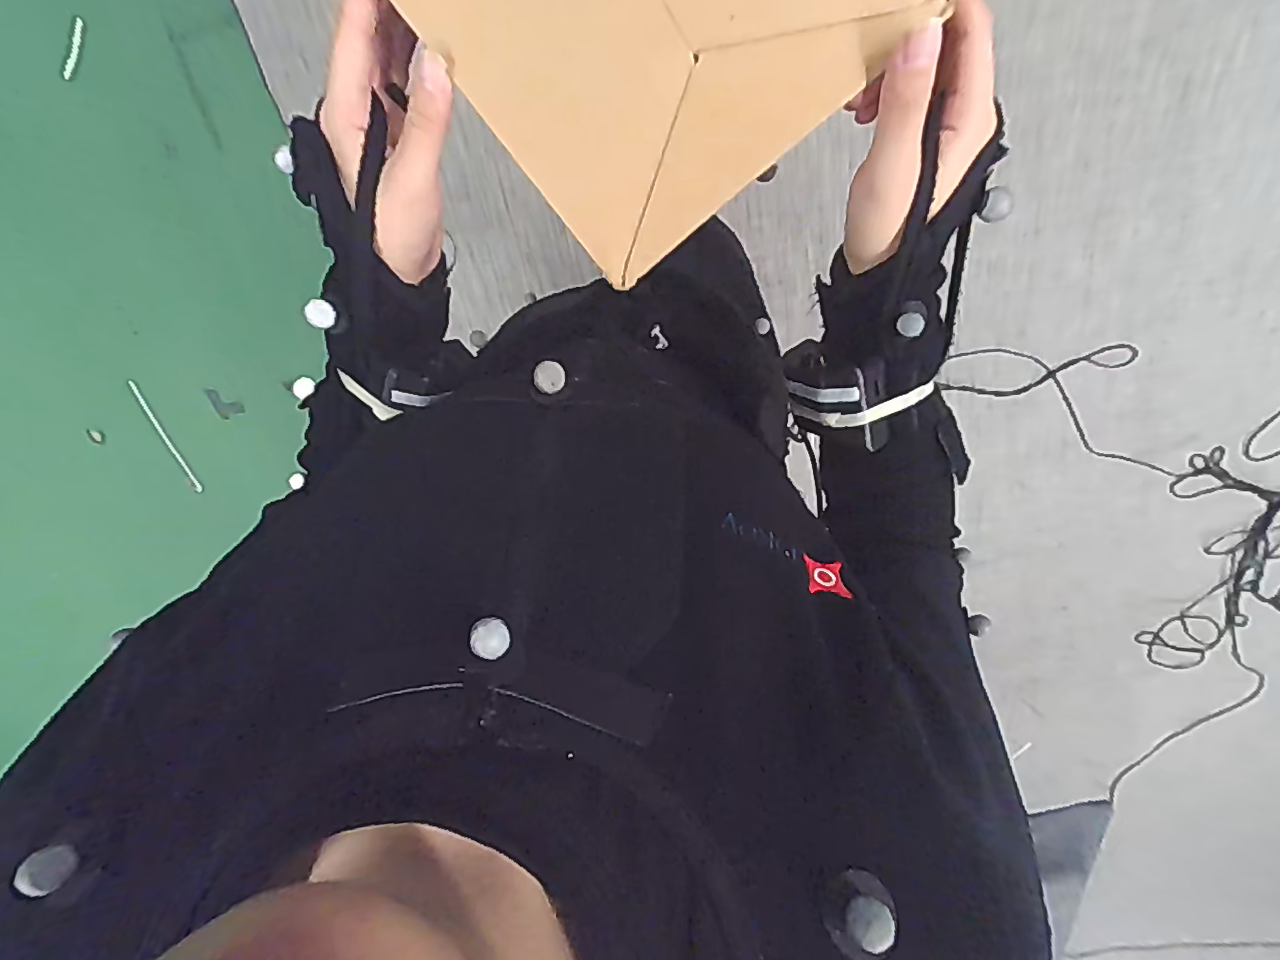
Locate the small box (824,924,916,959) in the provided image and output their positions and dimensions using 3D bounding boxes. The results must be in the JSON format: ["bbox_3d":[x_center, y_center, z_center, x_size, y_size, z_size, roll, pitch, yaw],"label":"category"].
[{"bbox_3d":[0.479,1.017,1.061,0.168,0.176,0.179,-19,115,10],"label":"small box"}]
